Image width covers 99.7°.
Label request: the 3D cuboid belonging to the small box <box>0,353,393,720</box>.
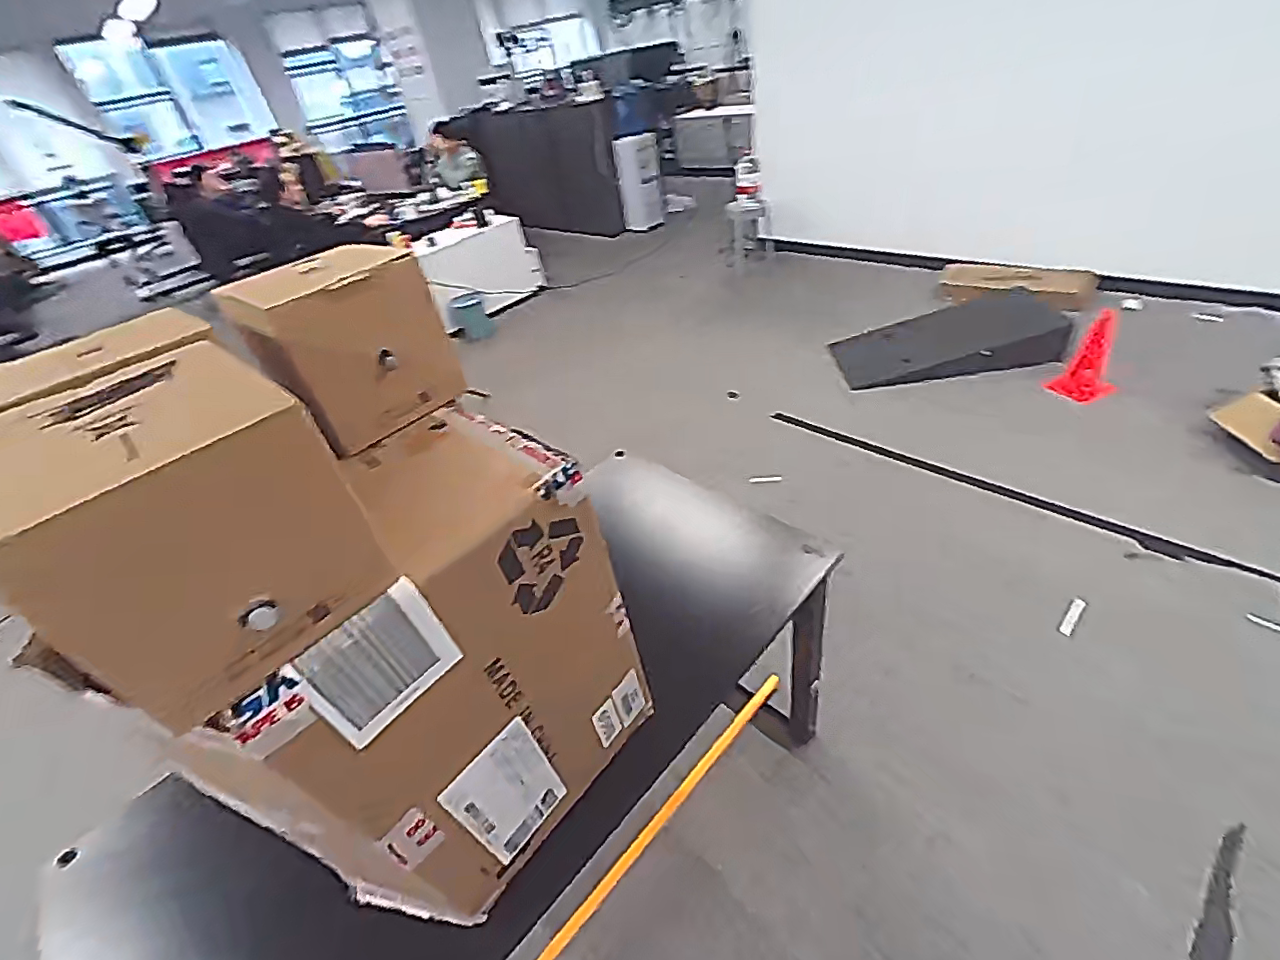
[{"bbox_3d":[-0.318,0.032,0.390,0.179,0.176,0.168,24,49,33],"label":"small box"}]

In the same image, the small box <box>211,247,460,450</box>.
[{"bbox_3d":[-0.343,-0.155,0.634,0.179,0.176,0.168,22,48,35],"label":"small box"}]

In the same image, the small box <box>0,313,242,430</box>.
[{"bbox_3d":[-0.477,-0.047,0.534,0.179,0.176,0.168,20,49,35],"label":"small box"}]
